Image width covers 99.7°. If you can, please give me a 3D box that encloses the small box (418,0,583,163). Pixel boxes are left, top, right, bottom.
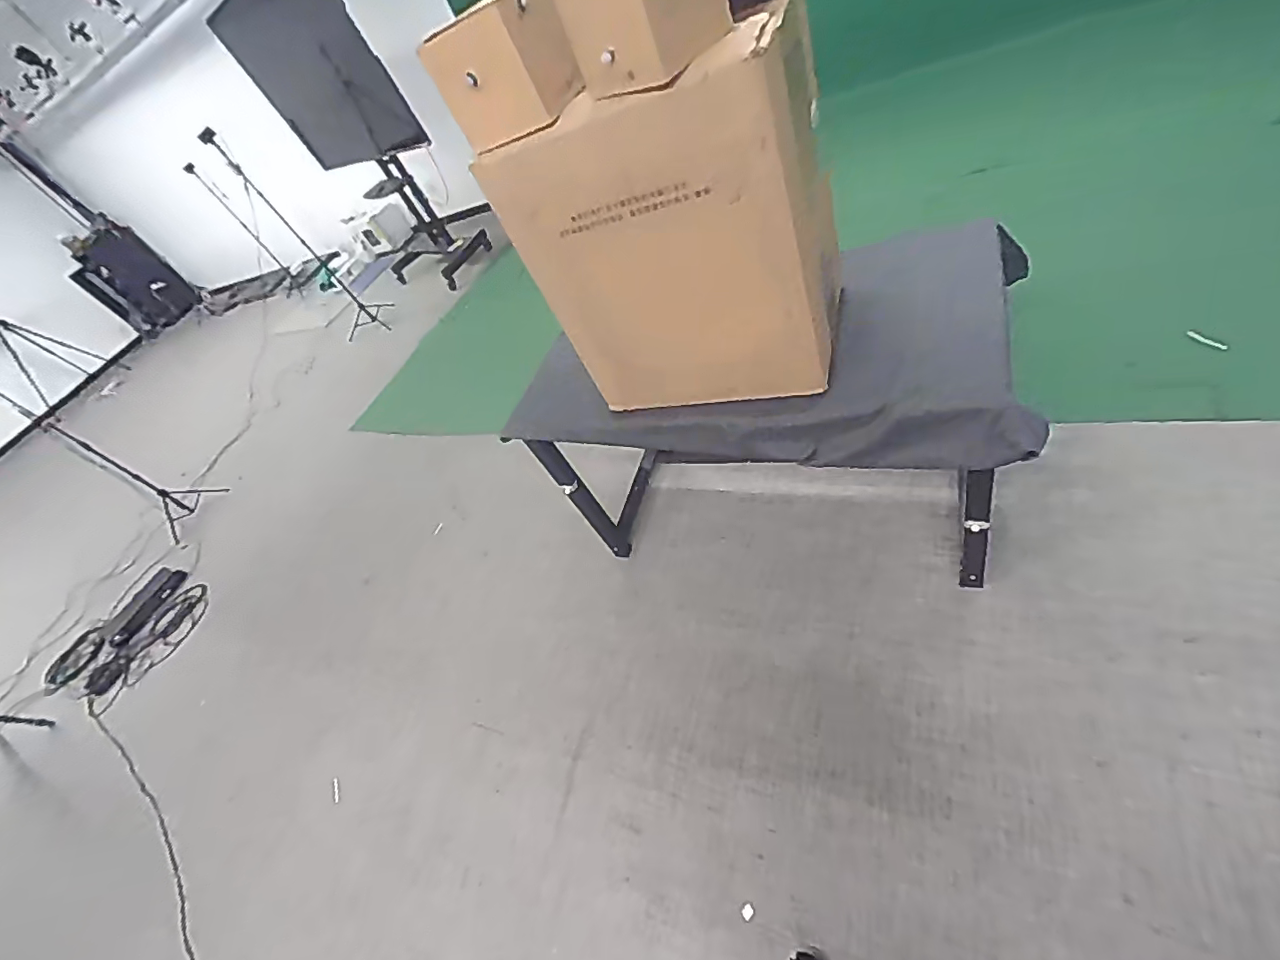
[{"bbox_3d":[-0.229,-0.681,0.925,0.179,0.176,0.168,-2,52,30],"label":"small box"}]

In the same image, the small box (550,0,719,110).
[{"bbox_3d":[-0.002,-0.686,0.799,0.168,0.176,0.179,23,66,41],"label":"small box"}]
